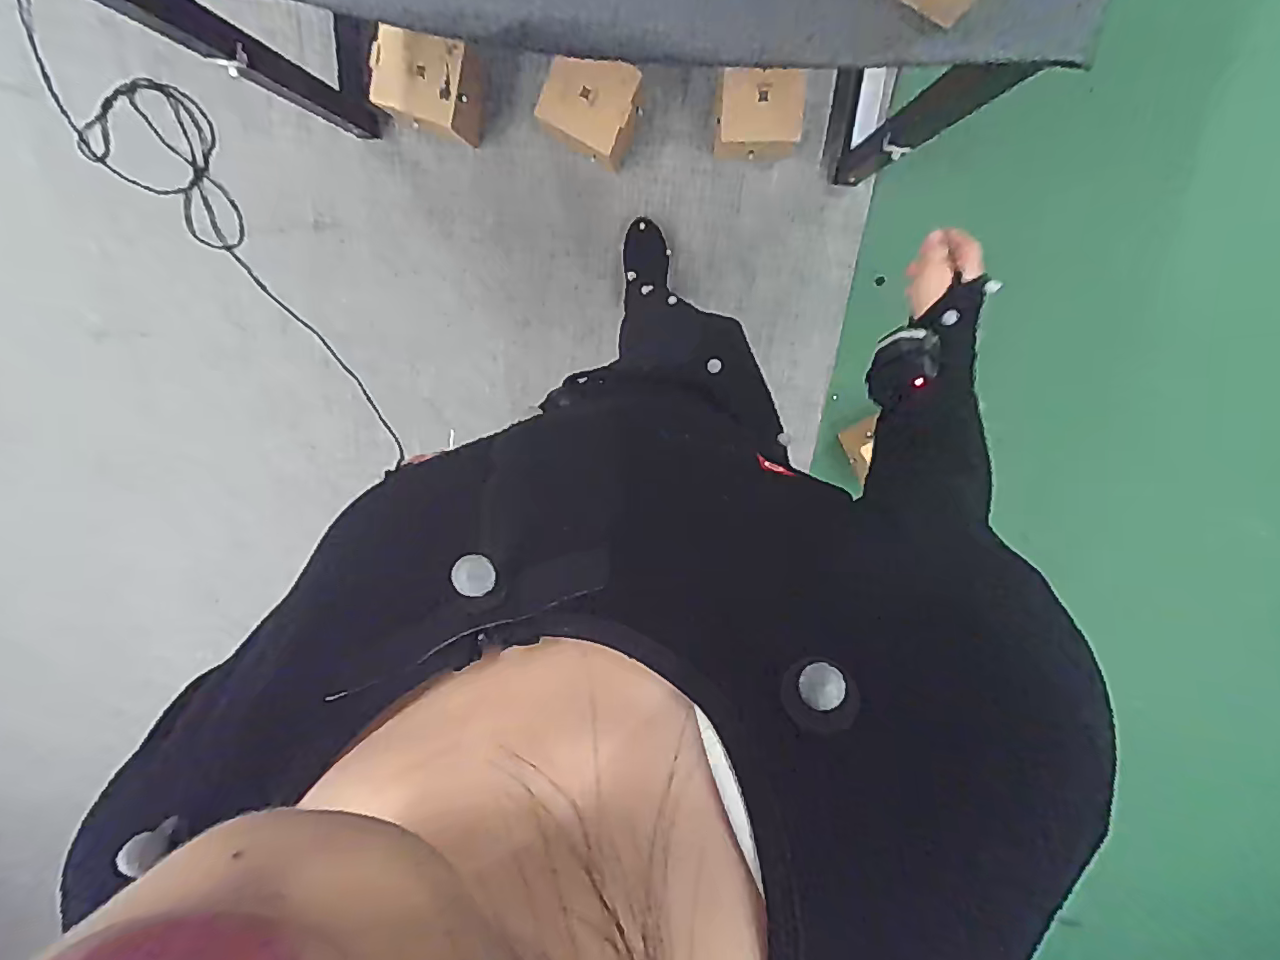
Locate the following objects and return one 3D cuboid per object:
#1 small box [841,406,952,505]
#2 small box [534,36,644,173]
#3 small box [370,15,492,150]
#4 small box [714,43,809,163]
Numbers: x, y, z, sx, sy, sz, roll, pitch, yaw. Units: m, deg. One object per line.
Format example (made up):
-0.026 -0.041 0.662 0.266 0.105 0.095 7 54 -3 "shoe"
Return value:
0.642 -0.068 1.370 0.179 0.176 0.168 -28 105 12 "small box"
-0.101 -0.792 1.165 0.179 0.176 0.168 26 107 -4 "small box"
-0.444 -0.842 1.166 0.179 0.176 0.168 18 109 -2 "small box"
0.248 -0.788 1.147 0.168 0.176 0.179 1 108 2 "small box"
